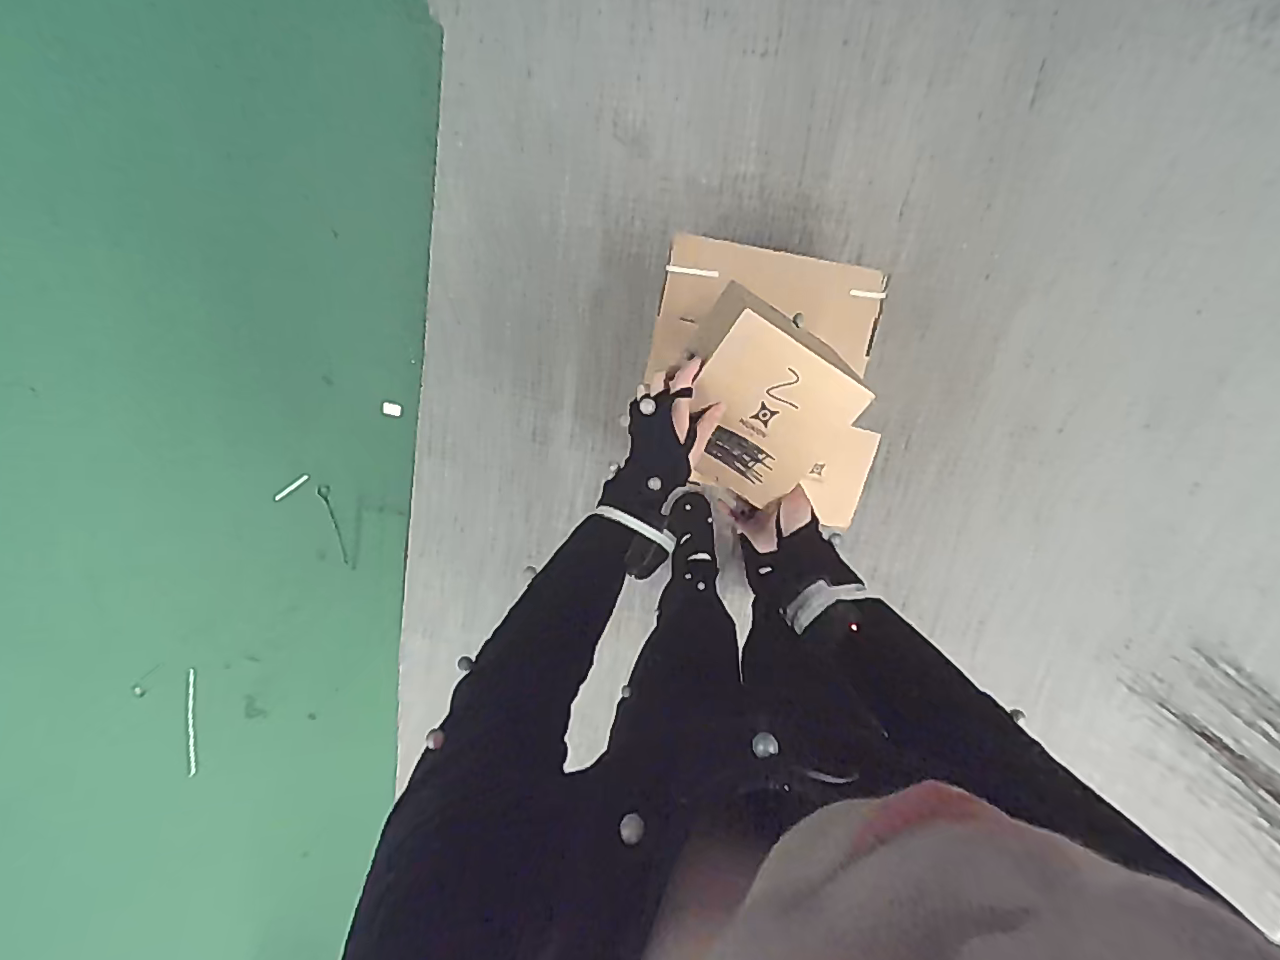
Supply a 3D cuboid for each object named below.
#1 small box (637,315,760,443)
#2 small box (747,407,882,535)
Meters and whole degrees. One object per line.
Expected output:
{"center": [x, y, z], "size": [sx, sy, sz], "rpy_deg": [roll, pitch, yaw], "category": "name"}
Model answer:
{"center": [0.100, -0.175, 0.963], "size": [0.168, 0.176, 0.179], "rpy_deg": [15, 99, 3], "category": "small box"}
{"center": [0.298, -0.024, 0.968], "size": [0.168, 0.176, 0.179], "rpy_deg": [16, 99, 1], "category": "small box"}
